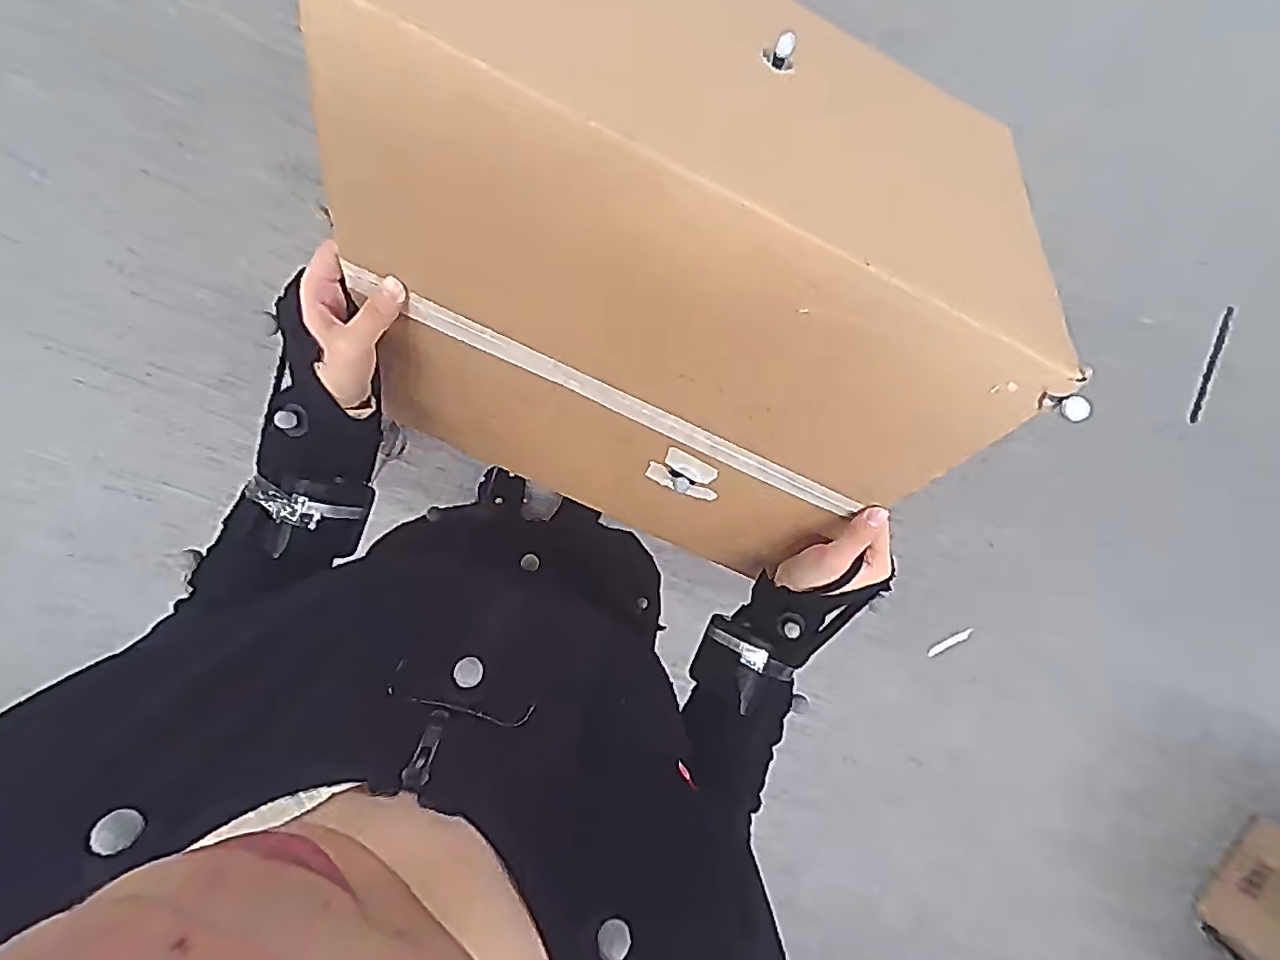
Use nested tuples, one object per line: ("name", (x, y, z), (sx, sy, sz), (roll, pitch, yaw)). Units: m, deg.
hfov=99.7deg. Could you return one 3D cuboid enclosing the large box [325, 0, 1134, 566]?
("large box", (0.046, -0.186, 0.439), (0.408, 0.320, 0.320), (24, 57, -6))
